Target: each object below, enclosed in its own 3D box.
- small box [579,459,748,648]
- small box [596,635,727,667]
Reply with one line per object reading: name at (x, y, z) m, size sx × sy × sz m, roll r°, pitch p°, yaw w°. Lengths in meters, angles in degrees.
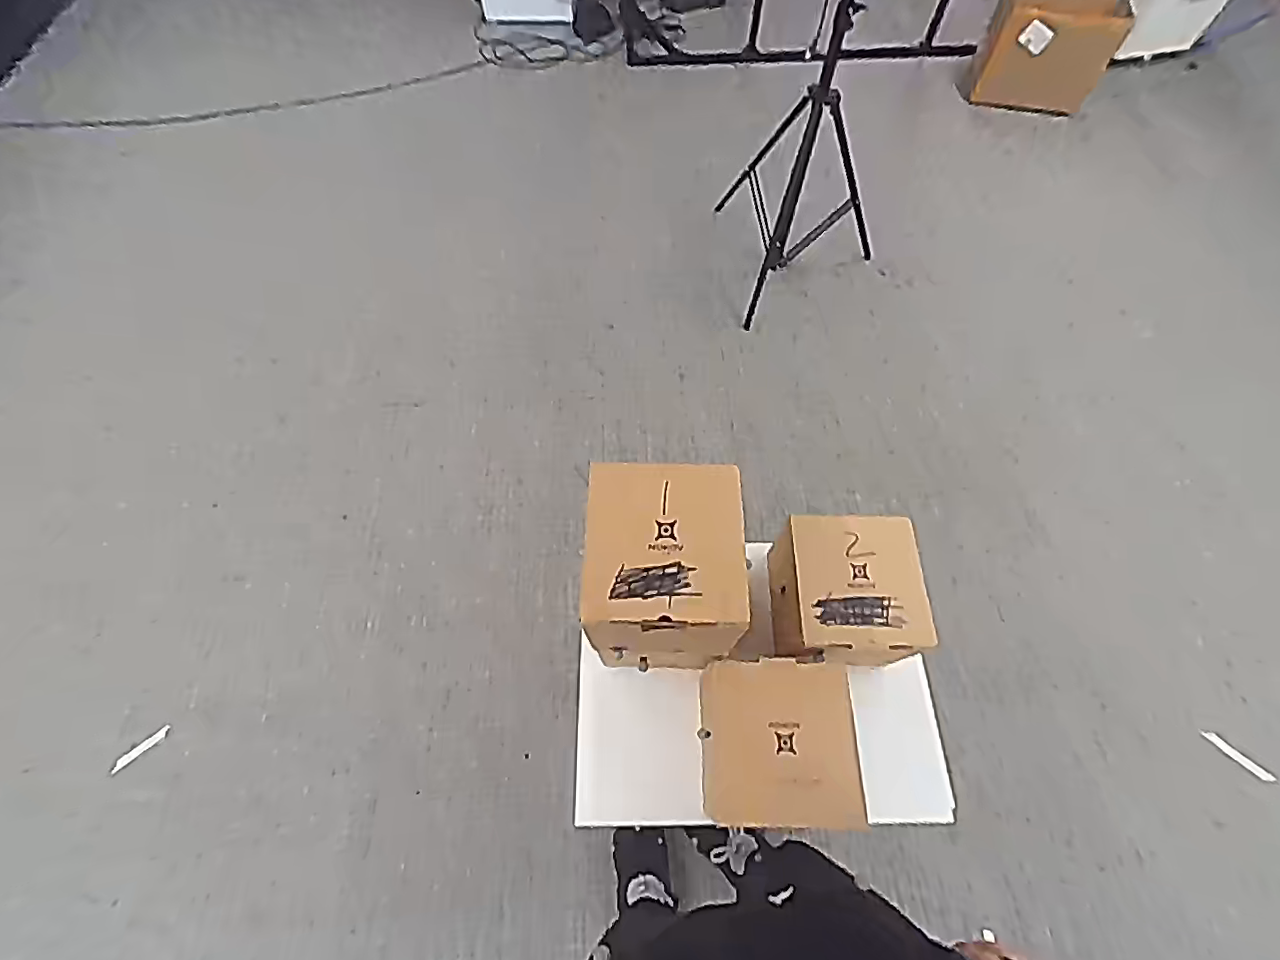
small box at (0.027, 0.092, 0.622) m, size 0.168 × 0.176 × 0.179 m, roll 1°, pitch 63°, yaw 1°
small box at (0.032, 0.165, 0.769) m, size 0.168 × 0.176 × 0.179 m, roll 2°, pitch 64°, yaw 1°
